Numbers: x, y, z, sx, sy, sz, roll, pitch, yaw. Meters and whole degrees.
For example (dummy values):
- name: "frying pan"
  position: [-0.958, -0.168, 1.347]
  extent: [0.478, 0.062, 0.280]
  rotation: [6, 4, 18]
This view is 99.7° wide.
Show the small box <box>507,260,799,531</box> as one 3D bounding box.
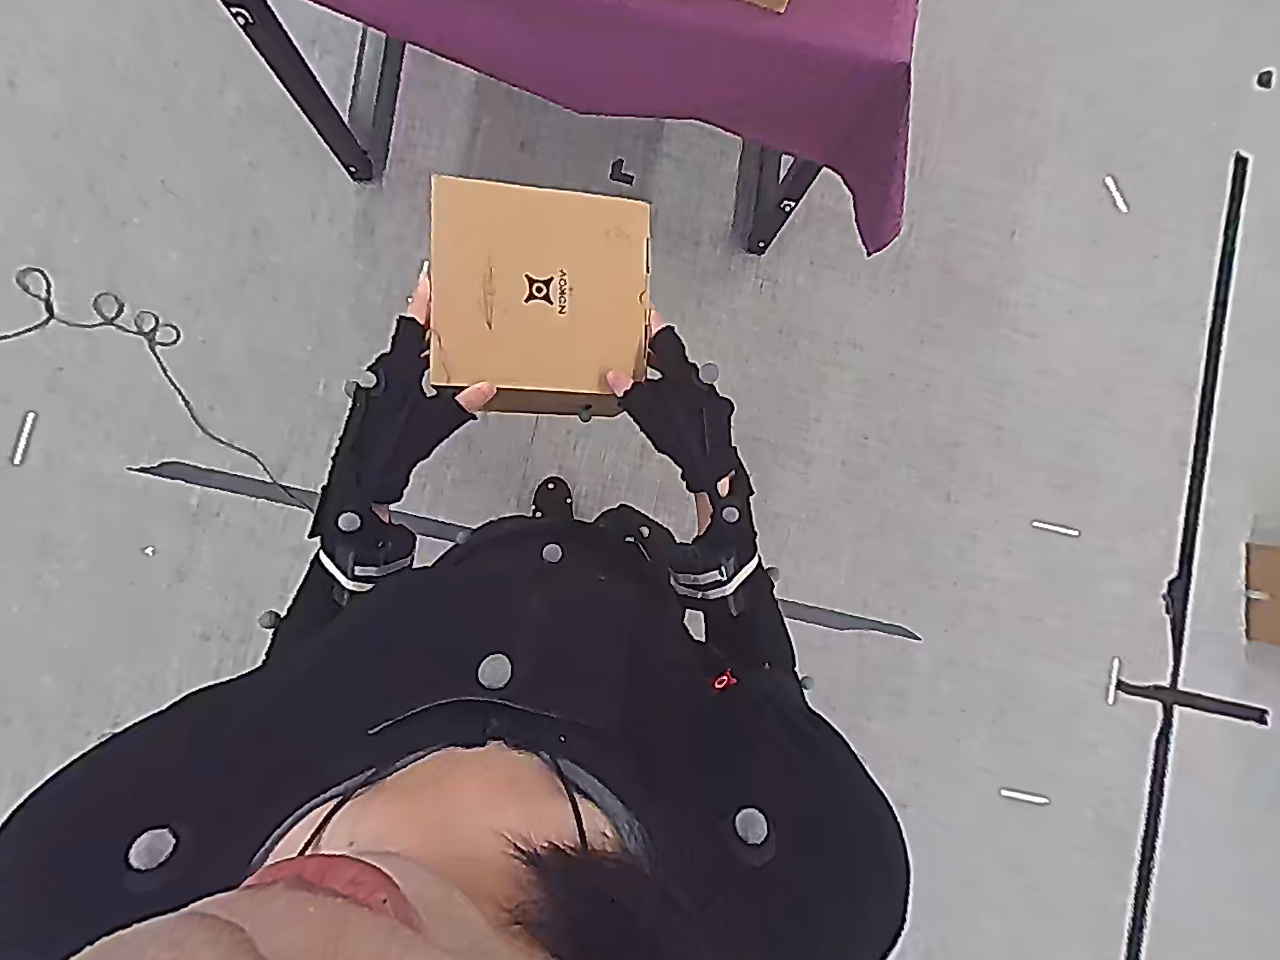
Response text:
- name: "small box"
  position: [0.019, -0.081, 0.503]
  extent: [0.176, 0.168, 0.179]
  rotation: [-33, 94, -47]
